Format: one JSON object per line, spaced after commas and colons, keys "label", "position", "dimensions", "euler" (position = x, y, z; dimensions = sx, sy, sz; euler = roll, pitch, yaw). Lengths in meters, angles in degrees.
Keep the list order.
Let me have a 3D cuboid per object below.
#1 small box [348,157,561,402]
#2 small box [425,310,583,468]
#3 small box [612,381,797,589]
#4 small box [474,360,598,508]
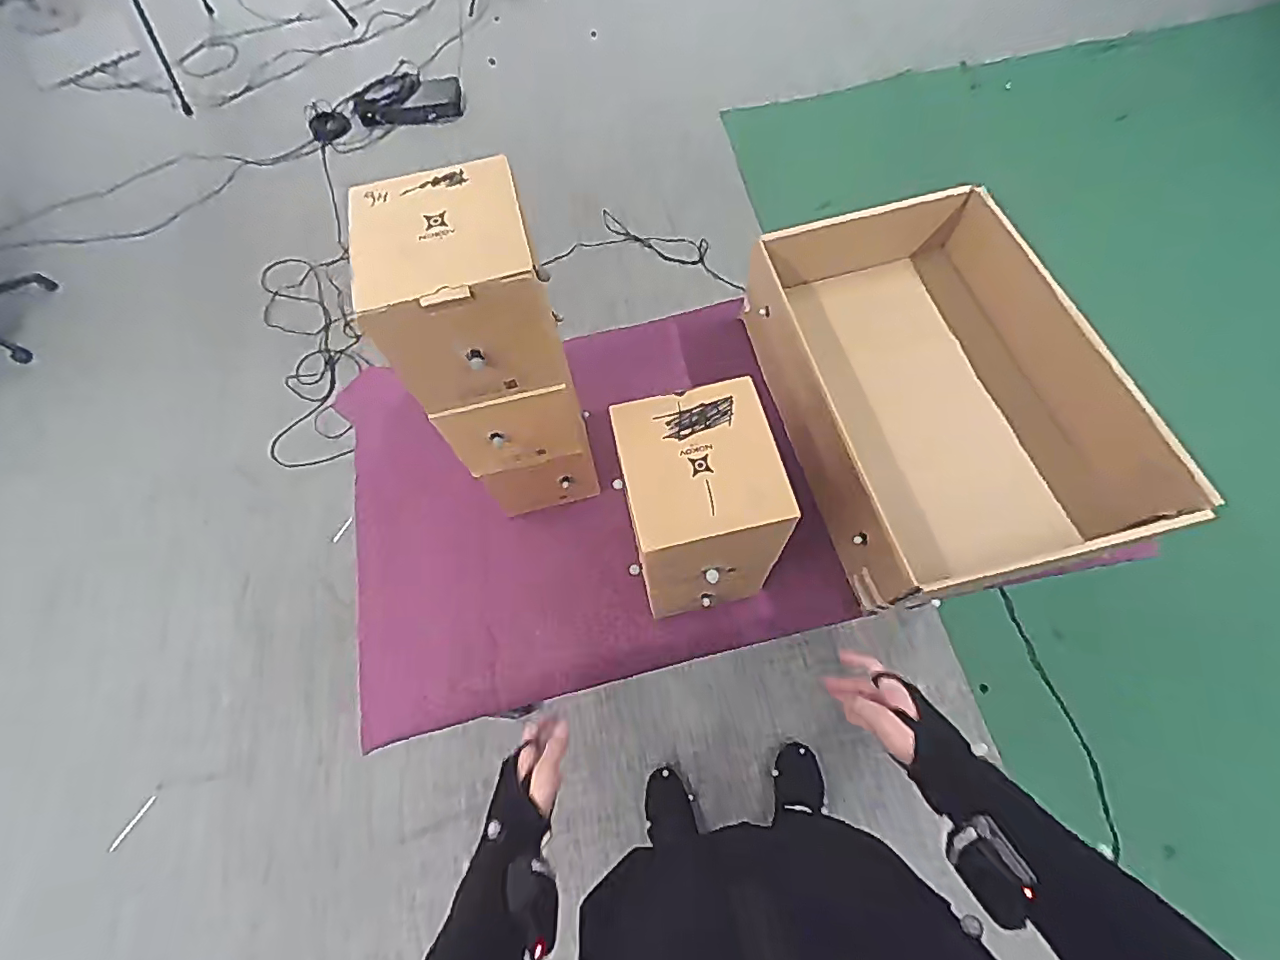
{"label": "small box", "position": [-0.191, -0.203, 0.587], "dimensions": [0.168, 0.176, 0.179], "euler": [-14, 66, -3]}
{"label": "small box", "position": [-0.181, -0.130, 0.734], "dimensions": [0.168, 0.176, 0.179], "euler": [-14, 65, -3]}
{"label": "small box", "position": [0.066, 0.013, 0.645], "dimensions": [0.168, 0.176, 0.179], "euler": [-13, 65, -2]}
{"label": "small box", "position": [-0.171, -0.067, 0.883], "dimensions": [0.168, 0.176, 0.179], "euler": [-13, 65, -3]}
